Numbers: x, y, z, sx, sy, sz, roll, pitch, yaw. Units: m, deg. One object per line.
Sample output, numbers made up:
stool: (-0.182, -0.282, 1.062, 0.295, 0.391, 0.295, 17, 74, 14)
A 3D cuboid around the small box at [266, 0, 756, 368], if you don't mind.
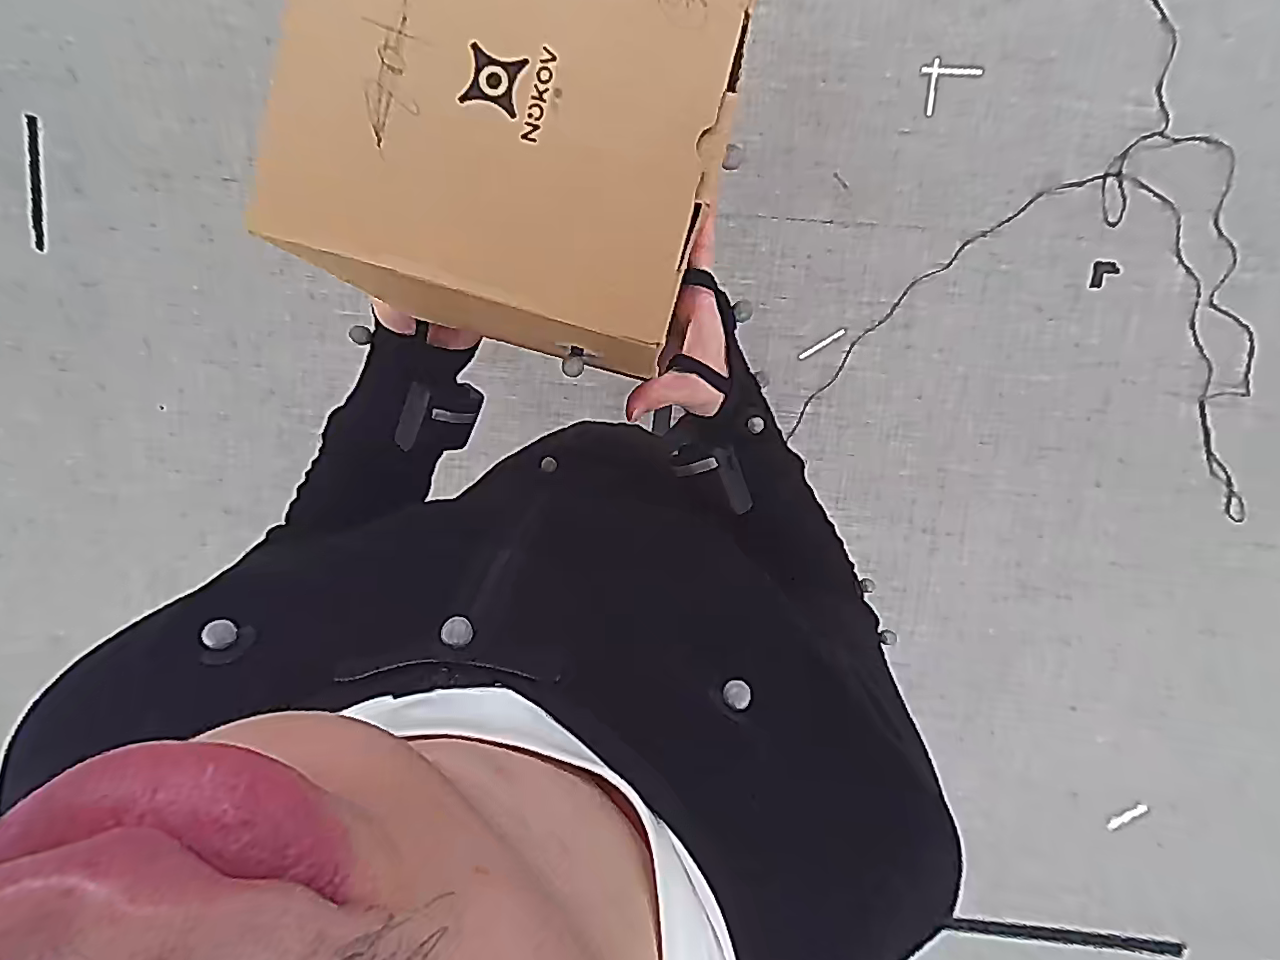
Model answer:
small box: (-0.055, -0.167, 0.304, 0.179, 0.176, 0.168, 15, 94, -2)
